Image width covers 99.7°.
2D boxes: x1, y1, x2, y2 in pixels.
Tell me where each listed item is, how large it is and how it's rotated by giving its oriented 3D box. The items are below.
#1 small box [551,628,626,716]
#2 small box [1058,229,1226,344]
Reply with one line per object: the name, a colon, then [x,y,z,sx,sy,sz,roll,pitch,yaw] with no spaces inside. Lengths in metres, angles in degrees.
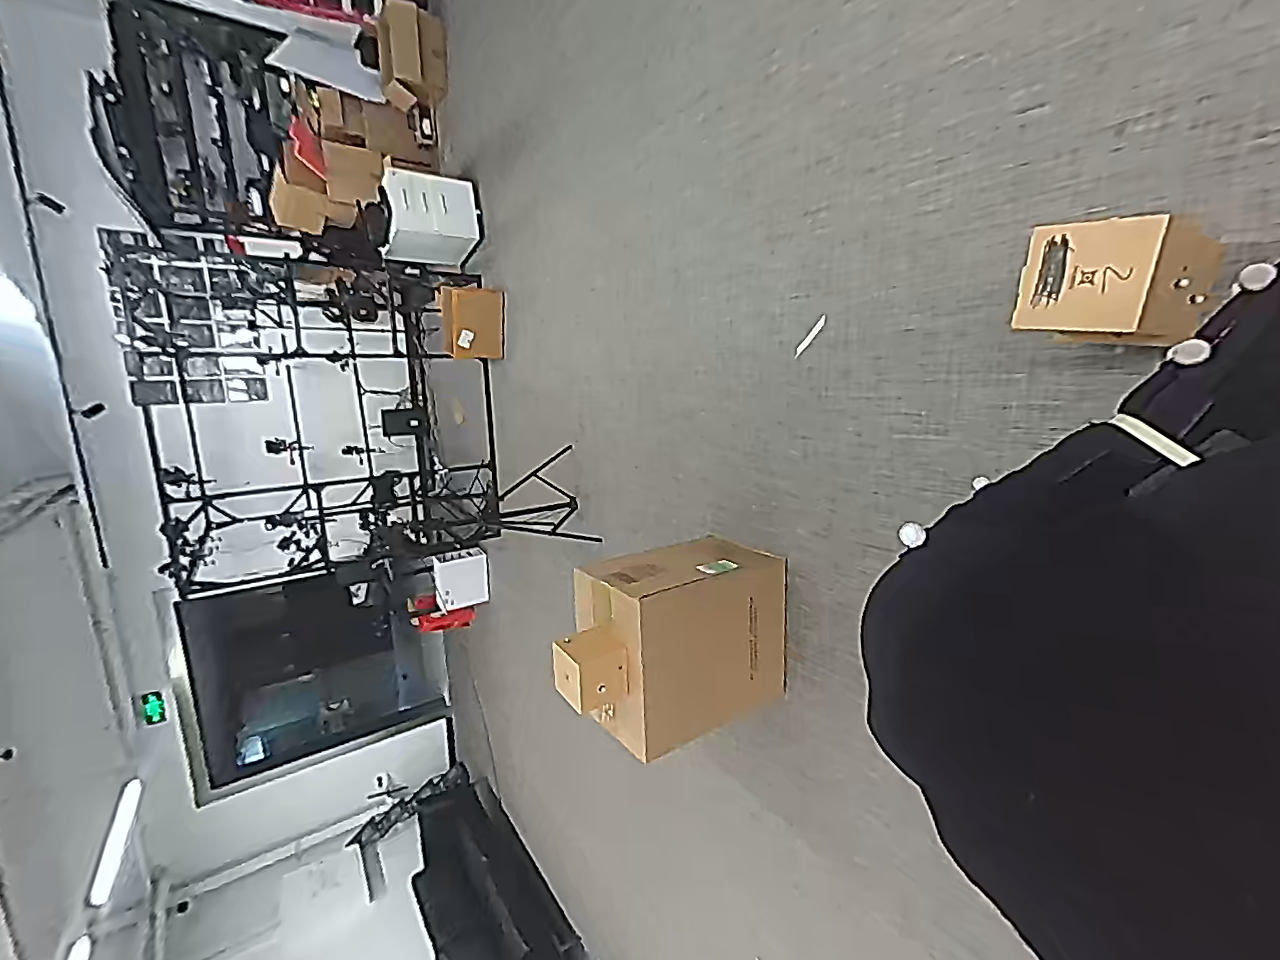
small box: [-0.153,0.570,1.636,0.179,0.176,0.168,15,110,55]
small box: [0.901,-0.341,0.972,0.168,0.176,0.179,26,119,52]
